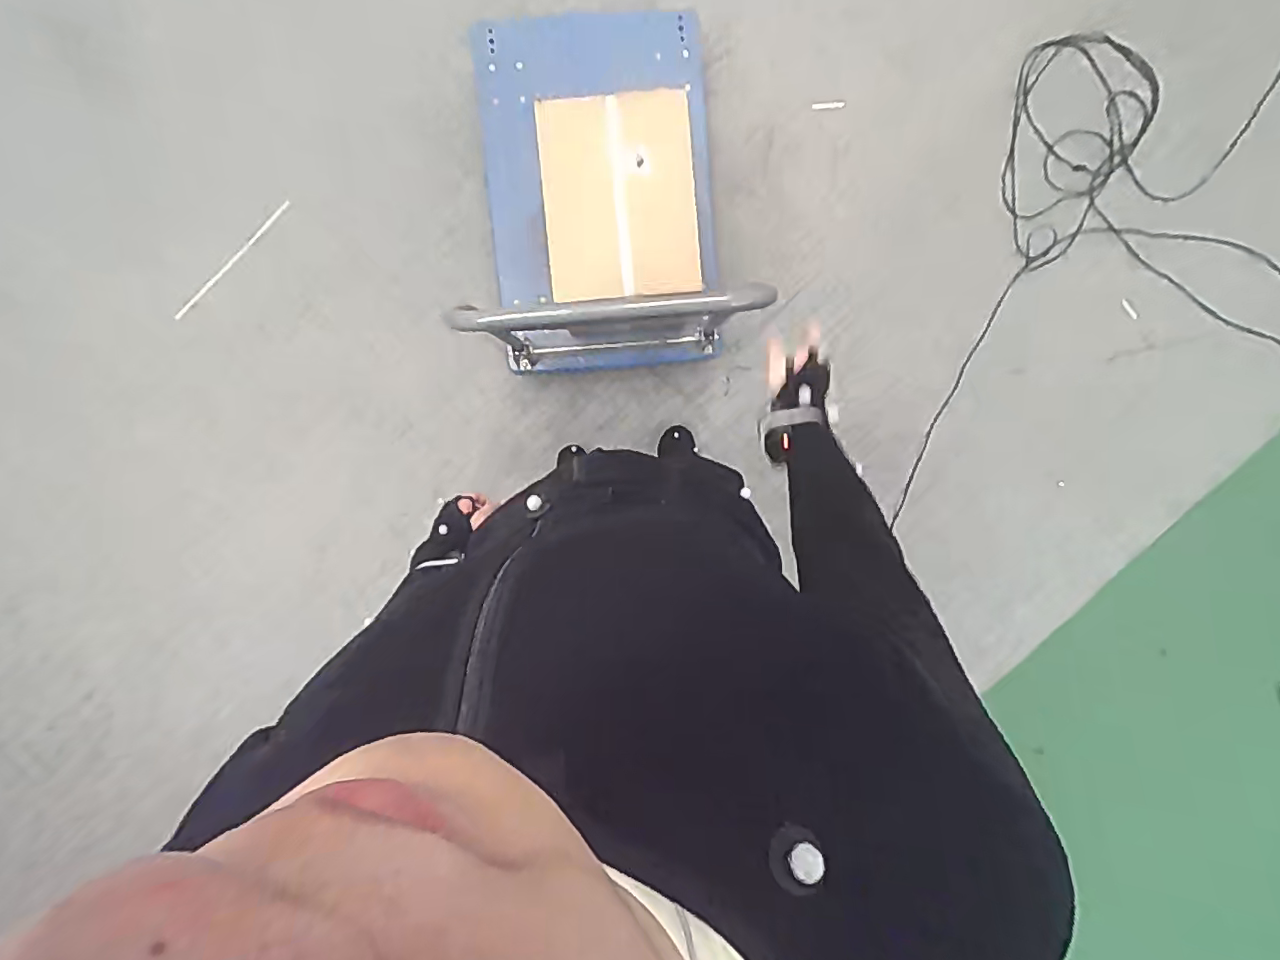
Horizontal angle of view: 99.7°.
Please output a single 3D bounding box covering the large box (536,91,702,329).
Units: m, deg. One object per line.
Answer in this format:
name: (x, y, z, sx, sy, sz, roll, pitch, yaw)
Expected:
large box: (-0.044, -0.600, 1.272, 0.320, 0.320, 0.408, -5, 94, -1)
